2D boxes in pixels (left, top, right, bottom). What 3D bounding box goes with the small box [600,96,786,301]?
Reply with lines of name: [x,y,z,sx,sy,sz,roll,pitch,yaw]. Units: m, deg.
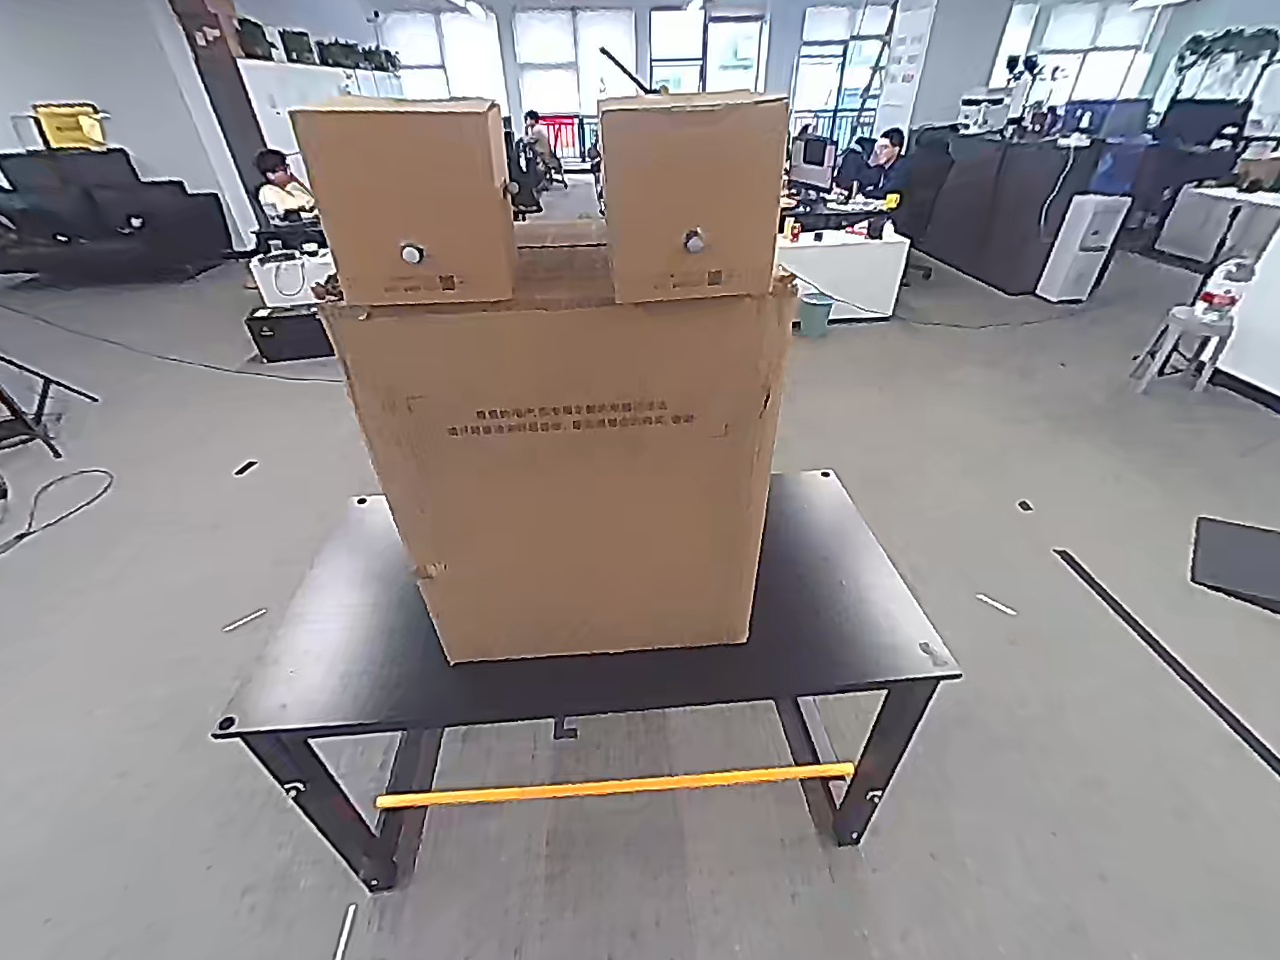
small box: [0.044,-0.304,0.581,0.168,0.176,0.179,-5,38,-2]
